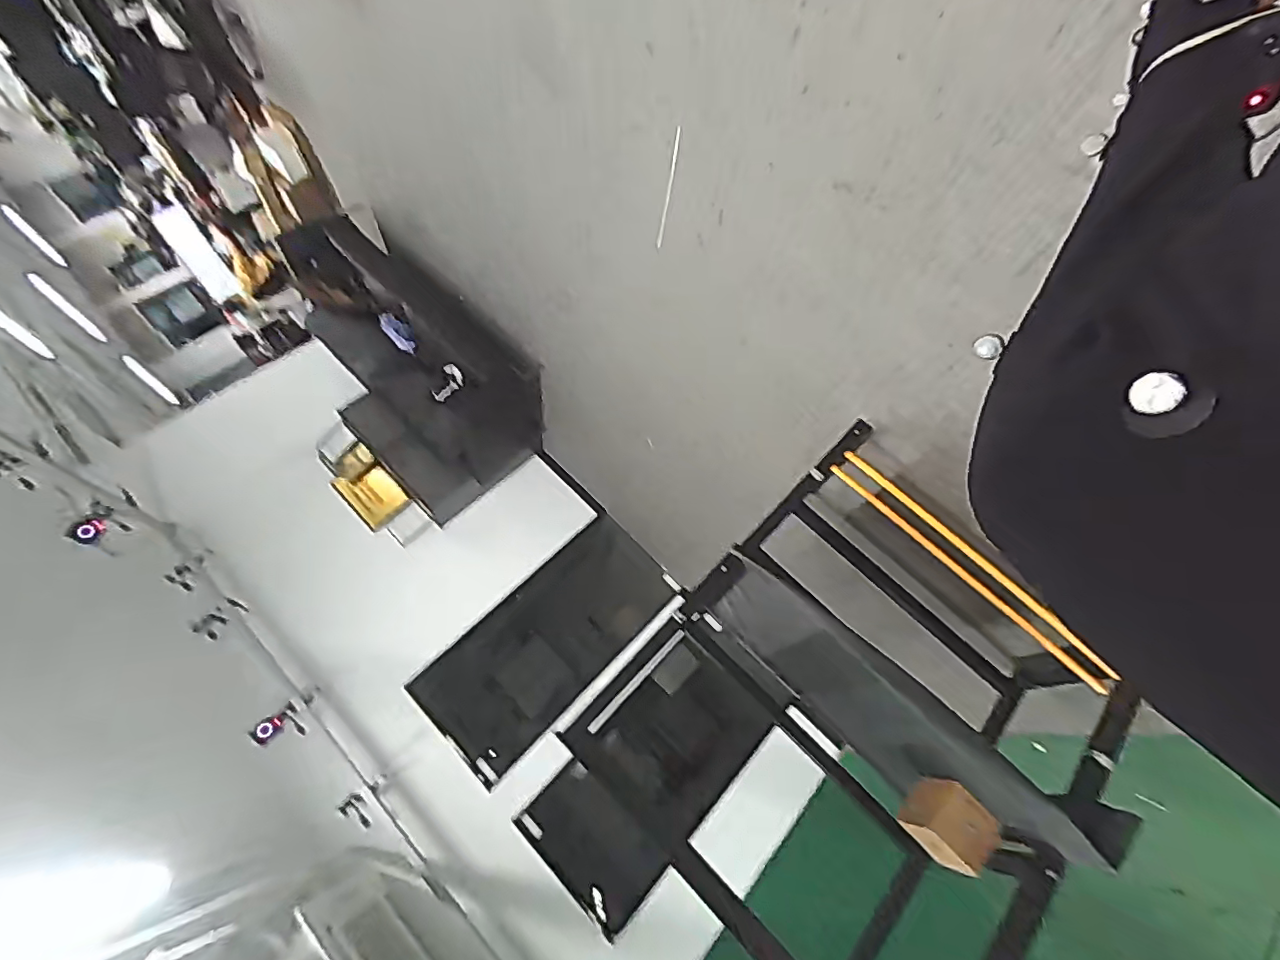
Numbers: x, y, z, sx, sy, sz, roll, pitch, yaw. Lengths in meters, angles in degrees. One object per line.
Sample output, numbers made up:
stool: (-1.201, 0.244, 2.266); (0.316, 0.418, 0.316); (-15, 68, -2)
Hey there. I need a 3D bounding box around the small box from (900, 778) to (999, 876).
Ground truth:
small box: (0.924, 1.018, 1.607); (0.168, 0.176, 0.179); (44, 157, 12)
